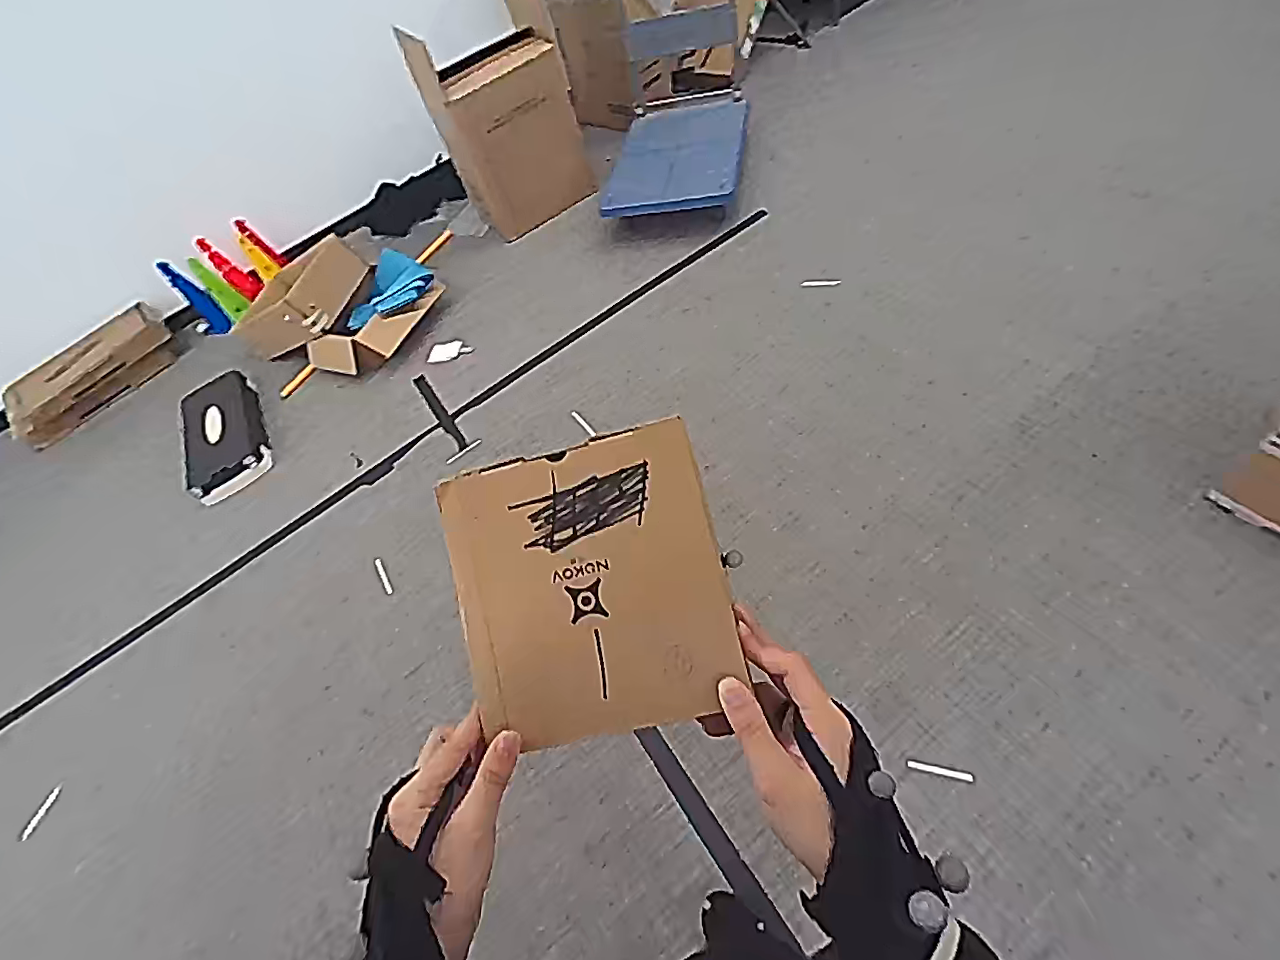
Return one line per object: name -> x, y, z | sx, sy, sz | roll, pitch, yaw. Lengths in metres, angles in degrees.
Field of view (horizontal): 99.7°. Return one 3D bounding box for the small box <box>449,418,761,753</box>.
small box -> -0.016, 0.073, 0.407 | 0.168, 0.176, 0.179 | -15, 82, 7
